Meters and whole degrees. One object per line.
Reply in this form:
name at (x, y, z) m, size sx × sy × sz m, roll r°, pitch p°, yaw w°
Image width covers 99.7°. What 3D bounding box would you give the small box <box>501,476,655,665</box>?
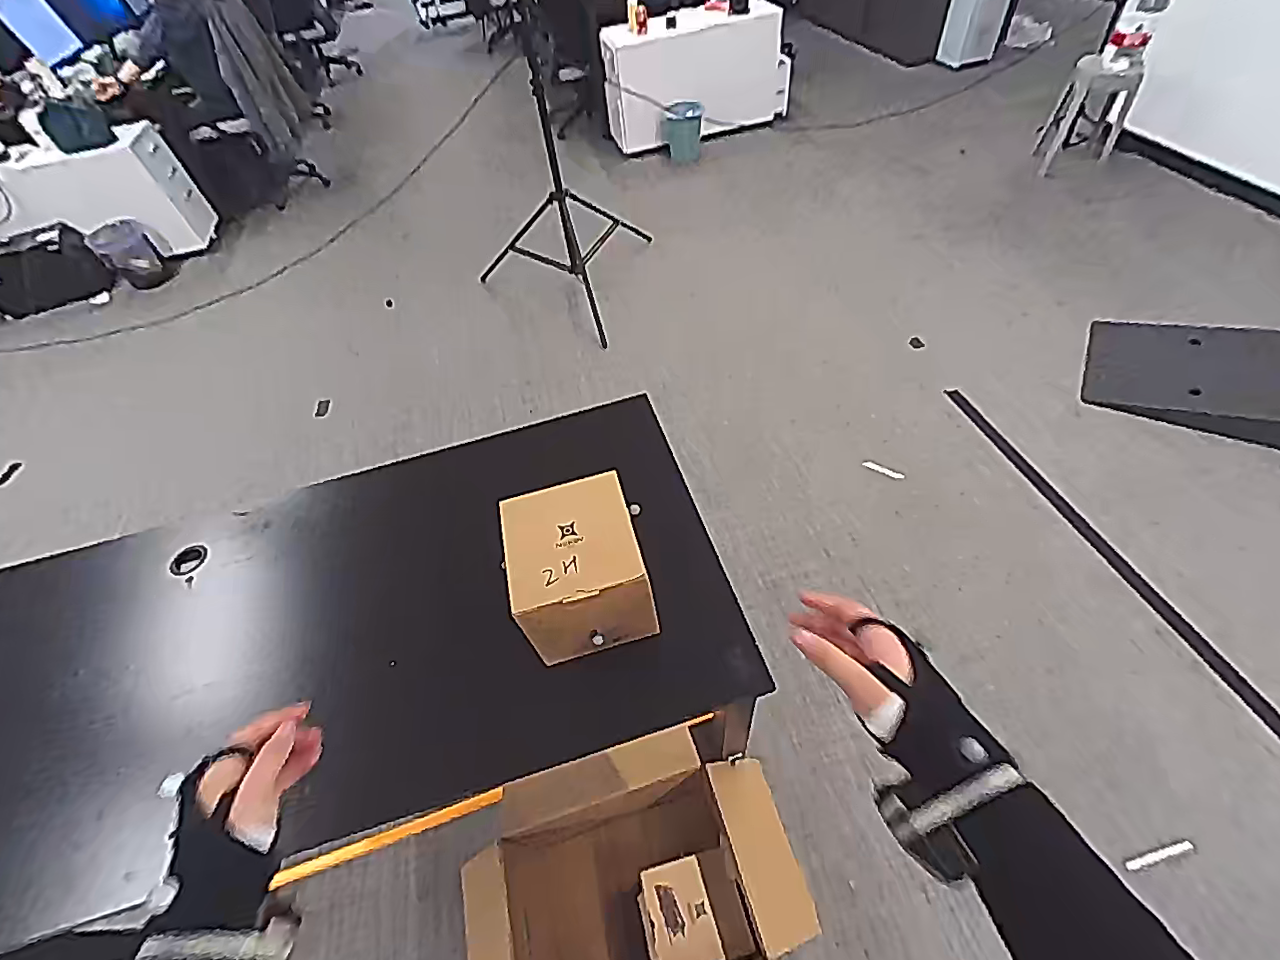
small box at (-0.083, 0.127, 0.746) m, size 0.168 × 0.176 × 0.179 m, roll -15°, pitch 51°, yaw -4°
